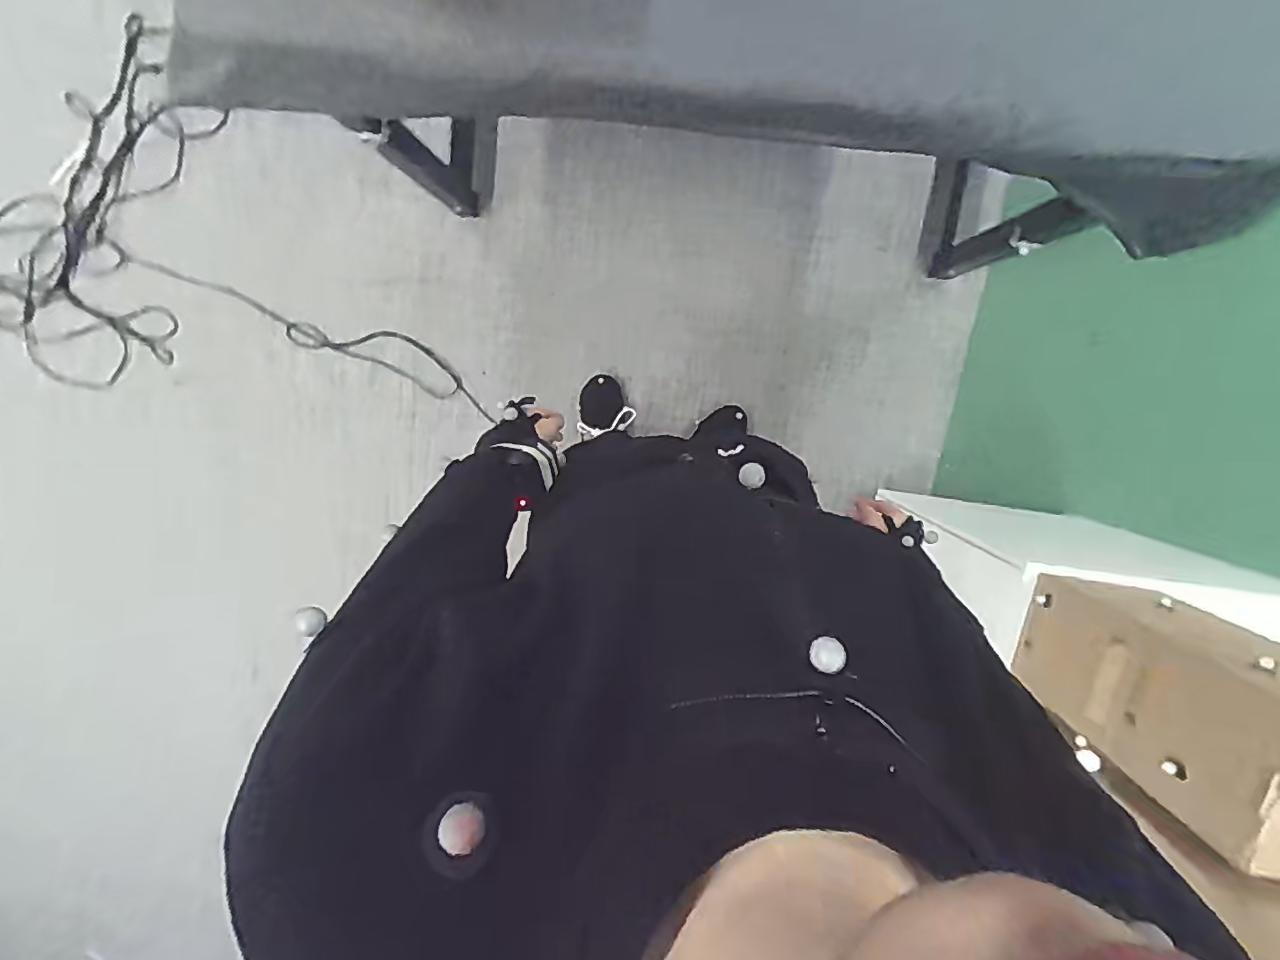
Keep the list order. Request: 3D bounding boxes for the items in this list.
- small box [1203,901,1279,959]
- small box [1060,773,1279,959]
[{"bbox_3d":[0.605,0.478,0.425,0.179,0.176,0.168,7,100,-1],"label":"small box"},{"bbox_3d":[0.609,0.448,0.586,0.179,0.176,0.168,4,100,1],"label":"small box"}]
